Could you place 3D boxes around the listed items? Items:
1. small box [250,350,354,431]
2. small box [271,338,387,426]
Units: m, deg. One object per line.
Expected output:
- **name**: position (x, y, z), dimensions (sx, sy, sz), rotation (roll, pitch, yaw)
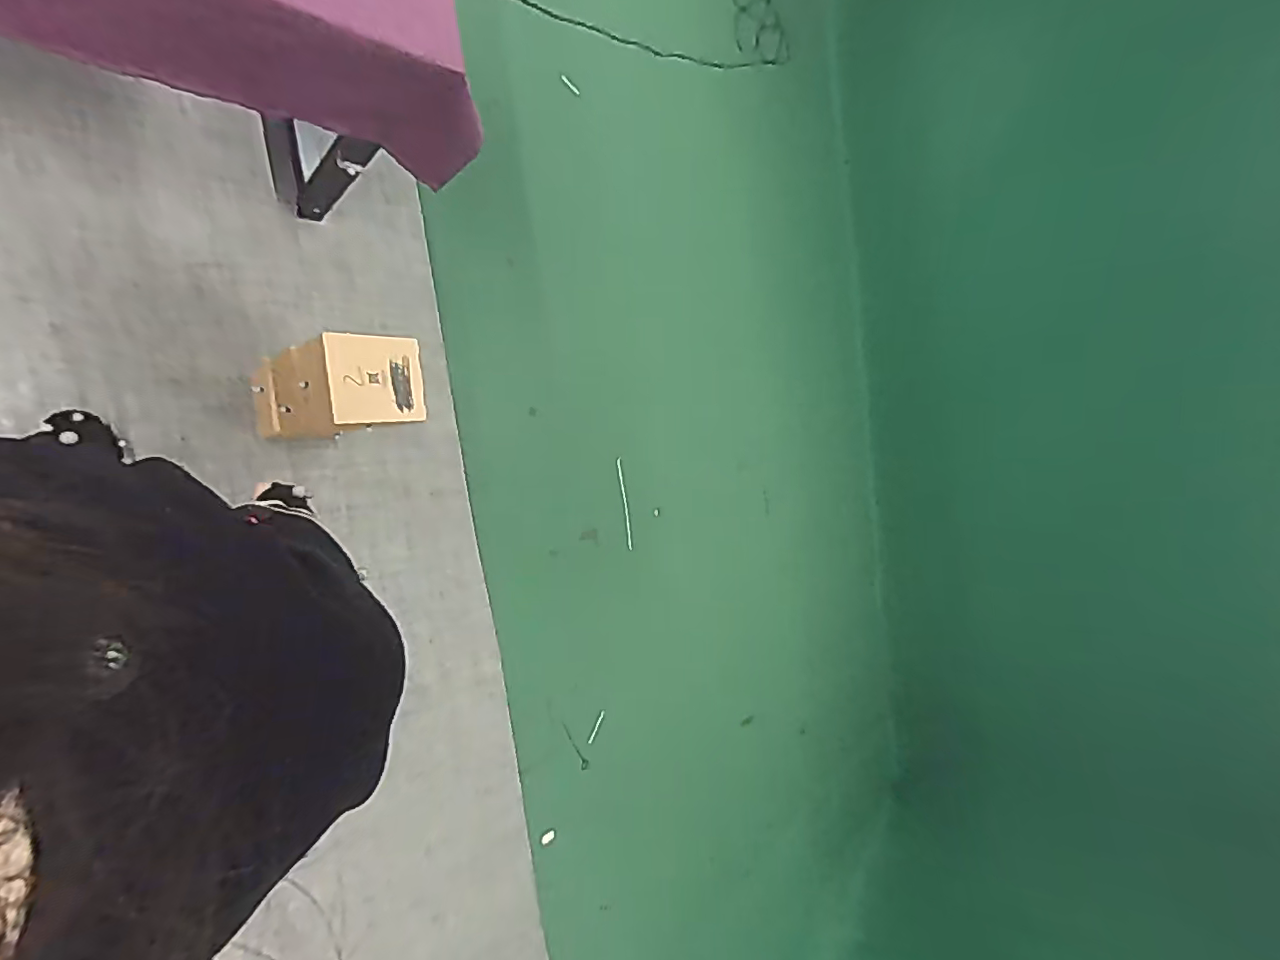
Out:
- **small box**: position (-0.811, -0.207, 1.293), dimensions (0.179, 0.176, 0.168), rotation (-8, 95, -47)
- **small box**: position (-0.687, -0.210, 1.187), dimensions (0.179, 0.176, 0.168), rotation (-12, 99, -47)
